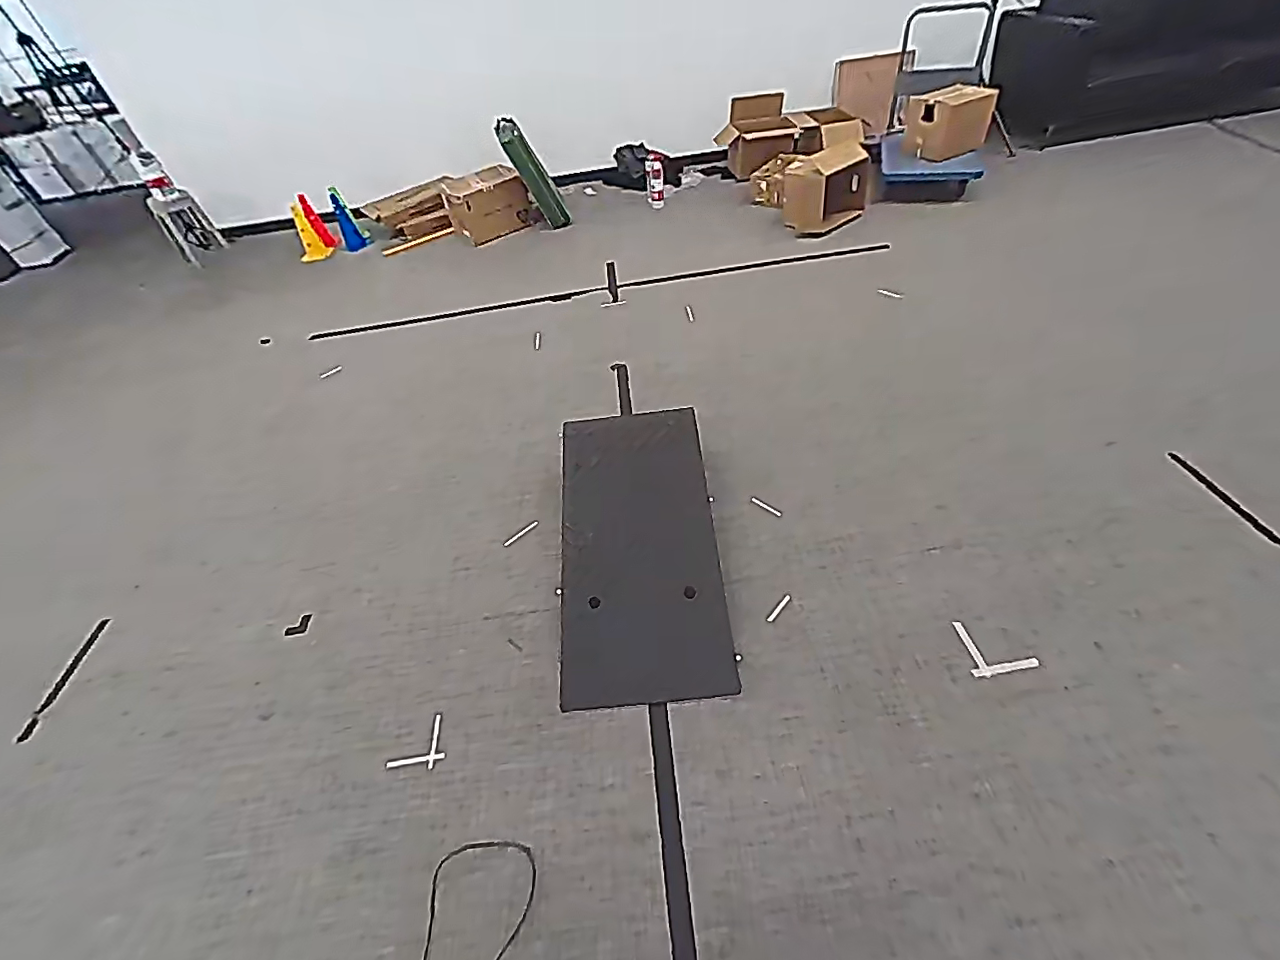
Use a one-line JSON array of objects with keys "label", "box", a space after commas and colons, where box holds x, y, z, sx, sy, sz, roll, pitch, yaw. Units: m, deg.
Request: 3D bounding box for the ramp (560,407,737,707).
[{"label": "ramp", "box": [-0.010, 0.175, 1.729, 0.509, 0.206, 0.991, -7, 46, 1]}]
